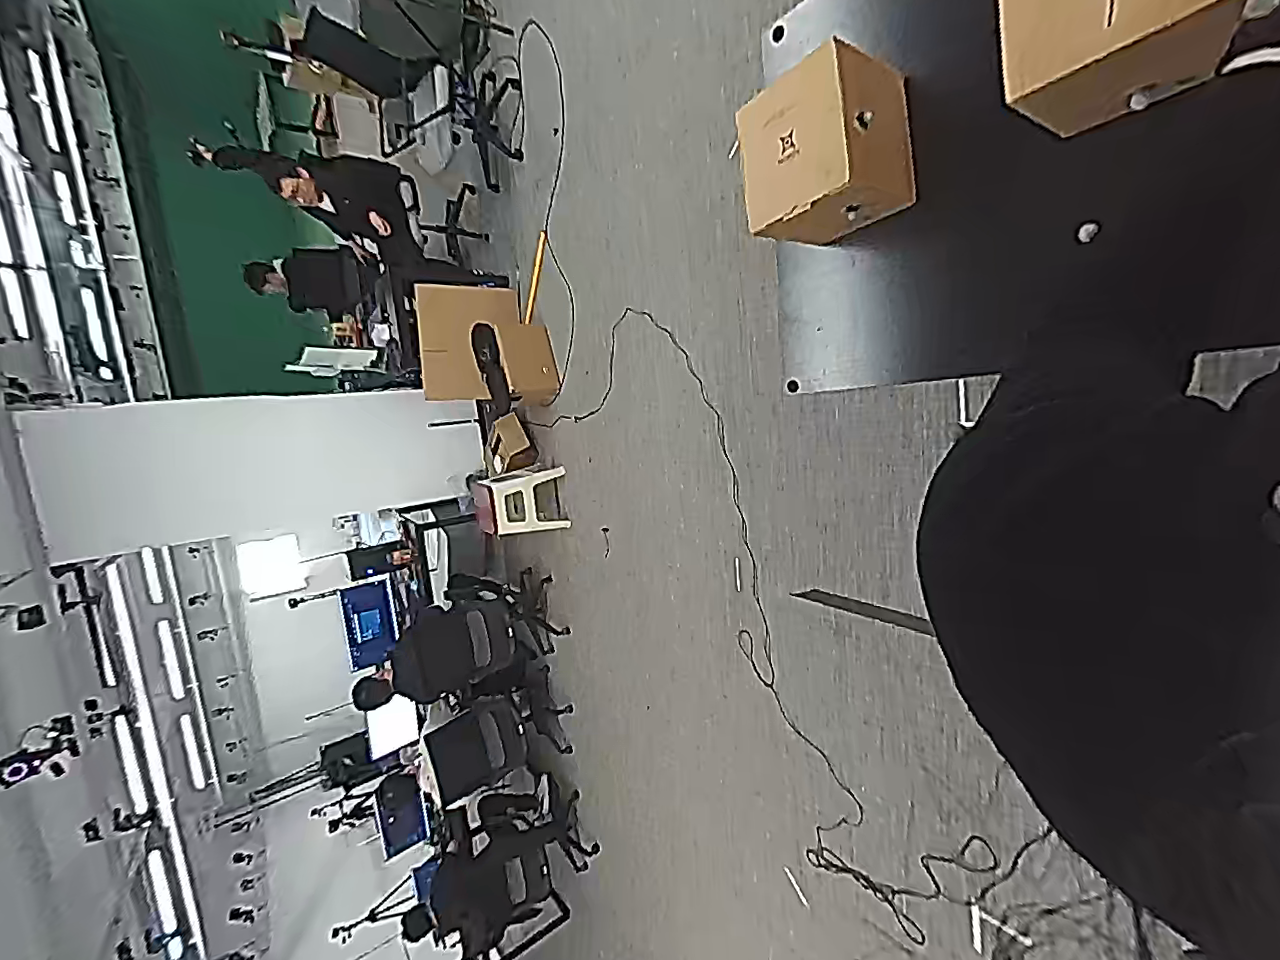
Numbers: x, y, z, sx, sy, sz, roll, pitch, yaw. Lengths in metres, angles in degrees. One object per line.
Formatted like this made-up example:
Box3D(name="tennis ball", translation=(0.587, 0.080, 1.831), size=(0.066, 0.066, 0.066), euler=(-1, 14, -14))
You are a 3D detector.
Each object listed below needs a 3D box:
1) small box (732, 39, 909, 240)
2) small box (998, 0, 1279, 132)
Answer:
Box3D(name="small box", translation=(0.254, -0.452, 0.757), size=(0.168, 0.176, 0.179), euler=(-3, 96, 53))
Box3D(name="small box", translation=(0.447, -0.454, 0.486), size=(0.168, 0.176, 0.179), euler=(2, 102, 54))
